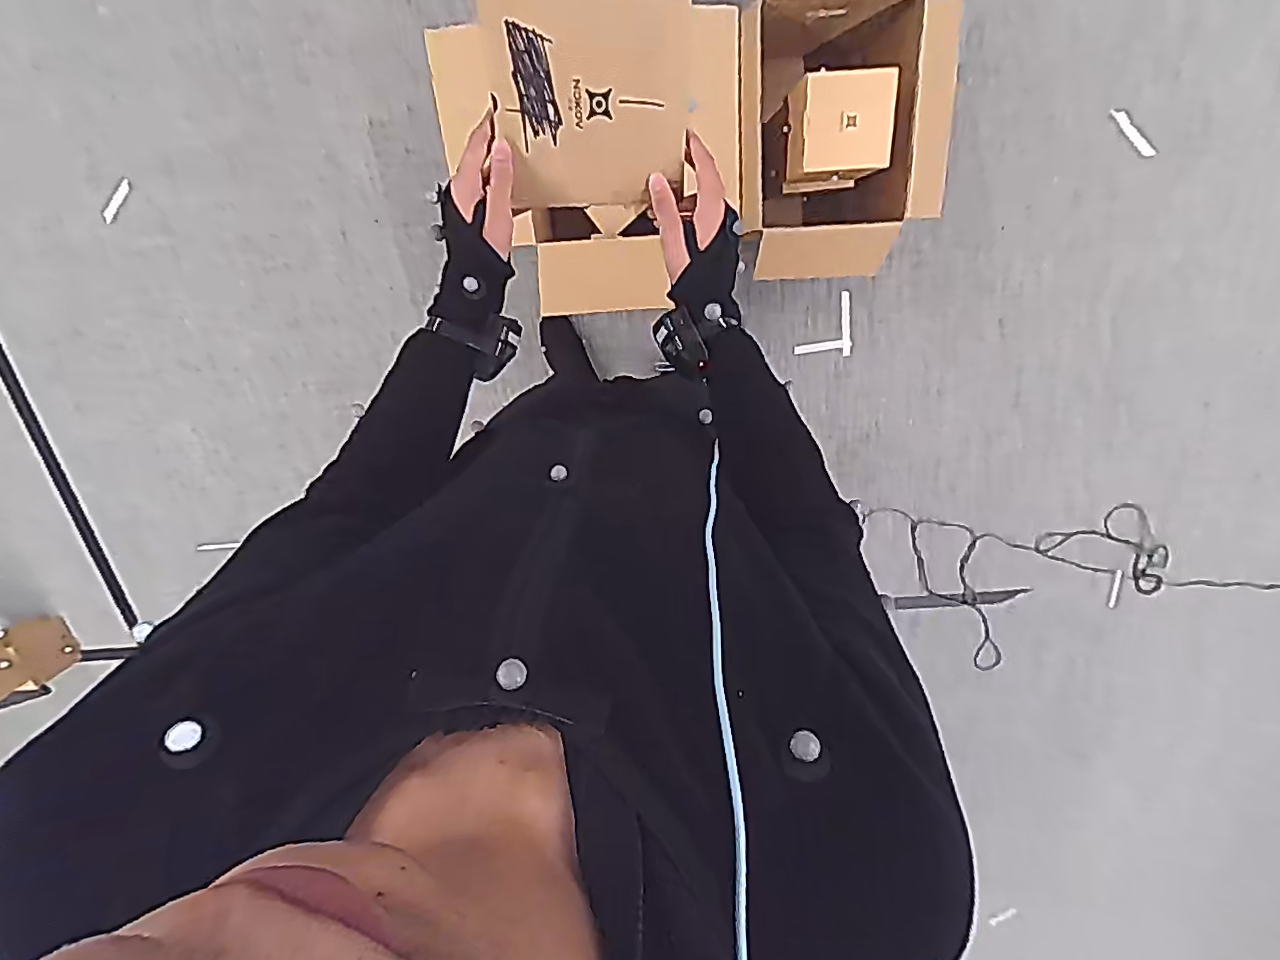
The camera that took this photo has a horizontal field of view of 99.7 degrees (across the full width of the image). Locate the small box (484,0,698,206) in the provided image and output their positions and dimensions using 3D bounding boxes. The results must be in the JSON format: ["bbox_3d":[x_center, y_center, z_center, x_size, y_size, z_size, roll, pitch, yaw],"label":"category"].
[{"bbox_3d":[-0.040,-0.382,0.541,0.179,0.176,0.168,1,127,-1],"label":"small box"}]

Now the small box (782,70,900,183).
[{"bbox_3d":[0.404,-0.720,1.116,0.179,0.176,0.168,-3,112,2],"label":"small box"}]
